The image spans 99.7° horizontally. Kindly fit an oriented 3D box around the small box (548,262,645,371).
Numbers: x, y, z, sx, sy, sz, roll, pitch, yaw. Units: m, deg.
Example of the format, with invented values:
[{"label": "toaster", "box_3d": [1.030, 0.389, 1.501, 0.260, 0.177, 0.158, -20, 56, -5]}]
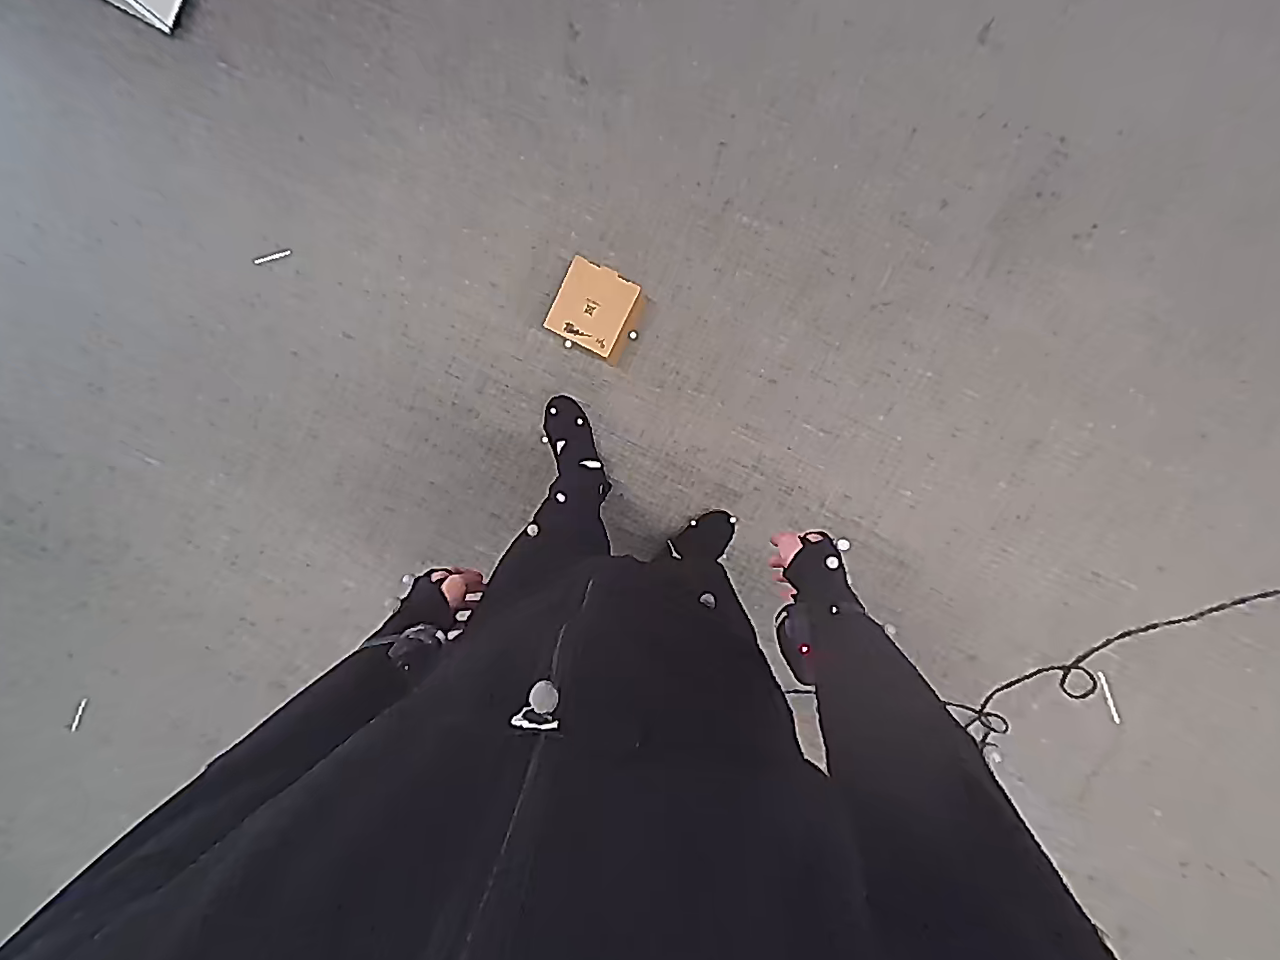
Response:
[{"label": "small box", "box_3d": [-0.097, -0.382, 1.297, 0.168, 0.176, 0.179, 28, 95, 2]}]
